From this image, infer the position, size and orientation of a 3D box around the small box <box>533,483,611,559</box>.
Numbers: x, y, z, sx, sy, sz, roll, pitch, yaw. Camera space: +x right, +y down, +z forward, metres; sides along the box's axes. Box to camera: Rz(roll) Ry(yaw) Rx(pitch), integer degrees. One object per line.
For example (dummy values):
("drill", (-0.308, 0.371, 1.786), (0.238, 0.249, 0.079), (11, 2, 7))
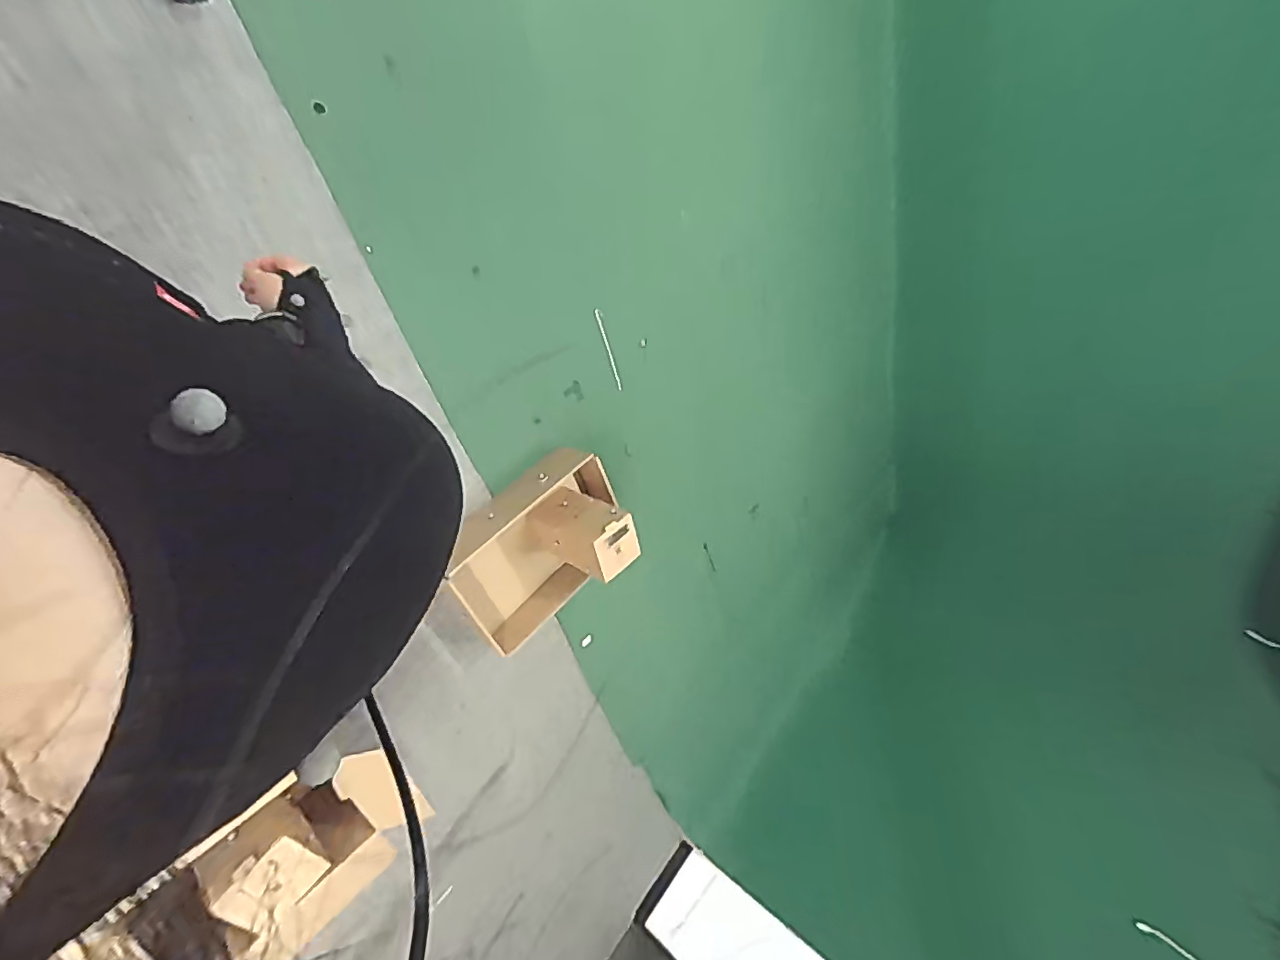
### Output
("small box", (-0.232, 0.133, 1.846), (0.179, 0.176, 0.168), (-41, 130, -29))

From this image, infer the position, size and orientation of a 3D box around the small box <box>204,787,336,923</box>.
("small box", (-0.847, 0.851, 1.241), (0.168, 0.176, 0.179), (-44, 131, -31))
